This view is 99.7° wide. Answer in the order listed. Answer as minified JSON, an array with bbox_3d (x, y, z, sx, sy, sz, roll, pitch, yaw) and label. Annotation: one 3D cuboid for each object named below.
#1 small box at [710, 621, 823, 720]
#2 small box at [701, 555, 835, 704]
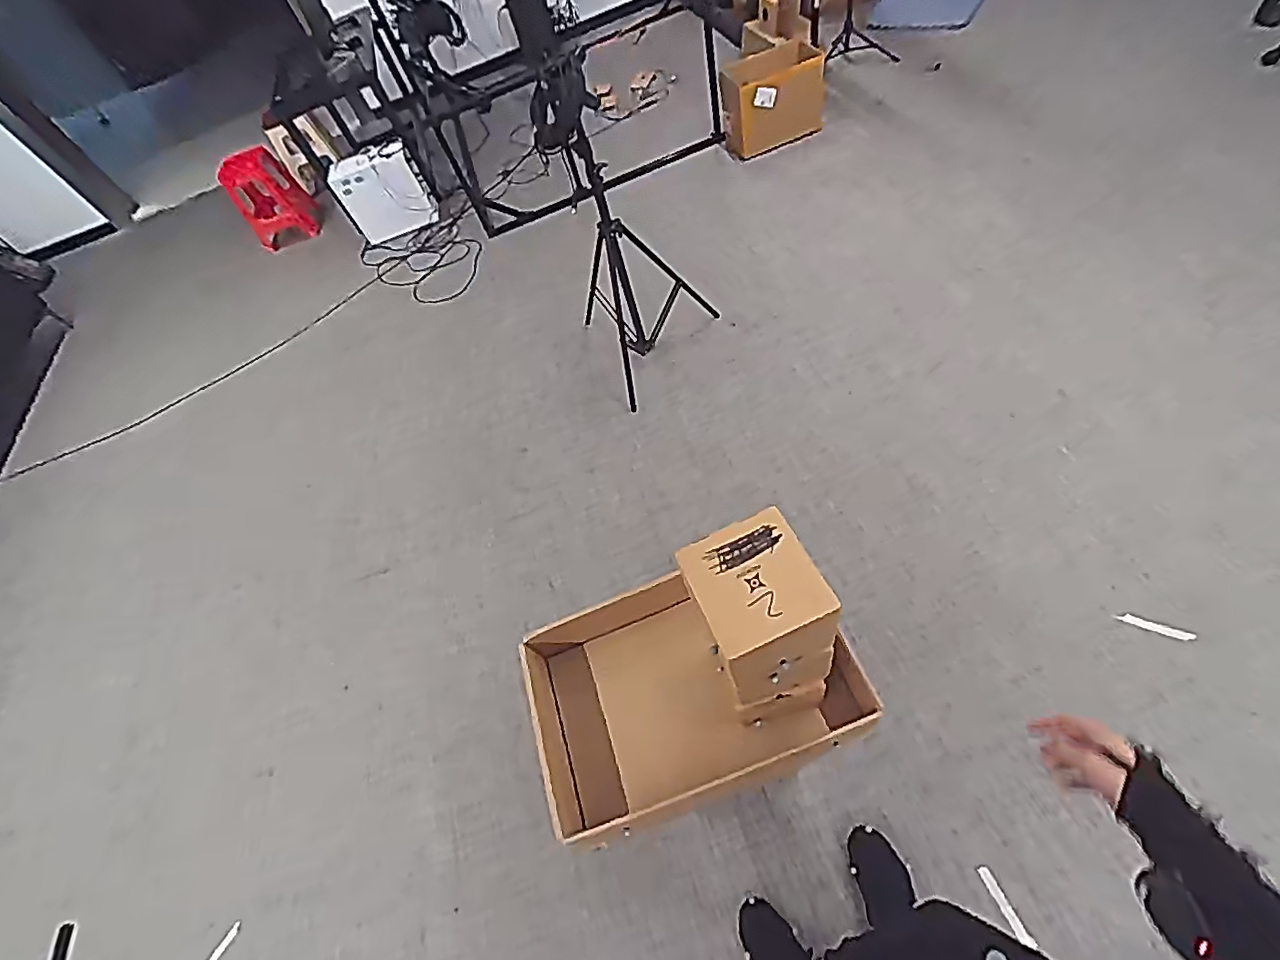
[{"bbox_3d":[0.247,0.358,1.063,0.168,0.176,0.179,-17,54,3],"label":"small box"},{"bbox_3d":[0.216,0.262,0.935,0.168,0.176,0.179,-20,54,2],"label":"small box"}]
